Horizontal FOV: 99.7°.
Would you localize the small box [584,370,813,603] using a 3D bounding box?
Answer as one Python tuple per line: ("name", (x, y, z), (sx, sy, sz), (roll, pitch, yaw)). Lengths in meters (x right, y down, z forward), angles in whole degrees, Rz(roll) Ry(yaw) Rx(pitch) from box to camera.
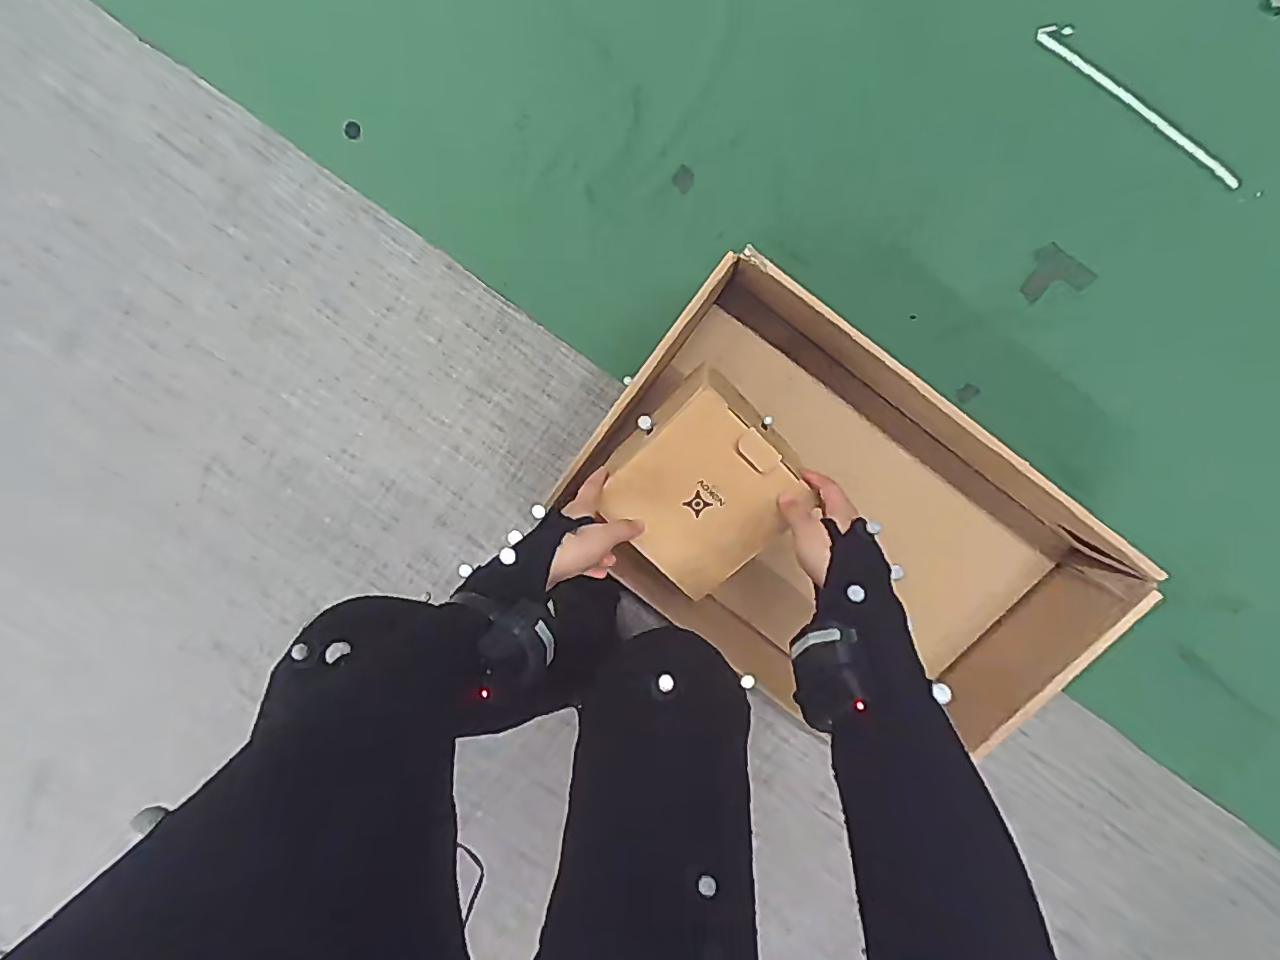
("small box", (0.066, -0.001, 0.620), (0.168, 0.176, 0.179), (43, 108, -10))
